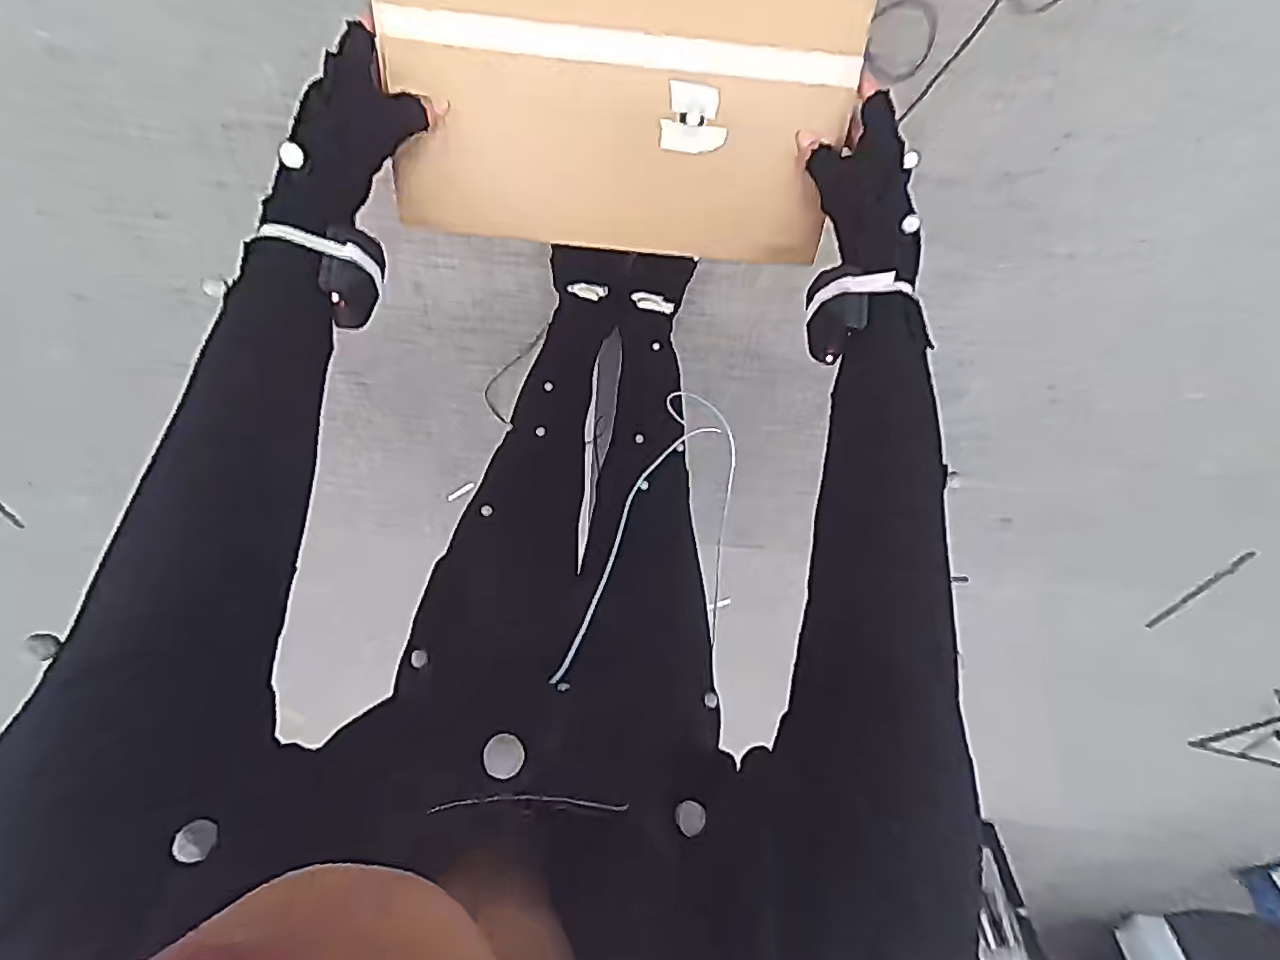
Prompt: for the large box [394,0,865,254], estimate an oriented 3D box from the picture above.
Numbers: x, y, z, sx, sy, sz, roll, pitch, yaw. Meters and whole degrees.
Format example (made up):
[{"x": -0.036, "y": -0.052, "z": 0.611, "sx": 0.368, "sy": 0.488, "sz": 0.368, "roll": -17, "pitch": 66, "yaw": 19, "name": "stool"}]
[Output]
[{"x": -0.015, "y": -0.452, "z": 0.600, "sx": 0.408, "sy": 0.320, "sz": 0.320, "roll": 4, "pitch": 122, "yaw": -3, "name": "large box"}]
